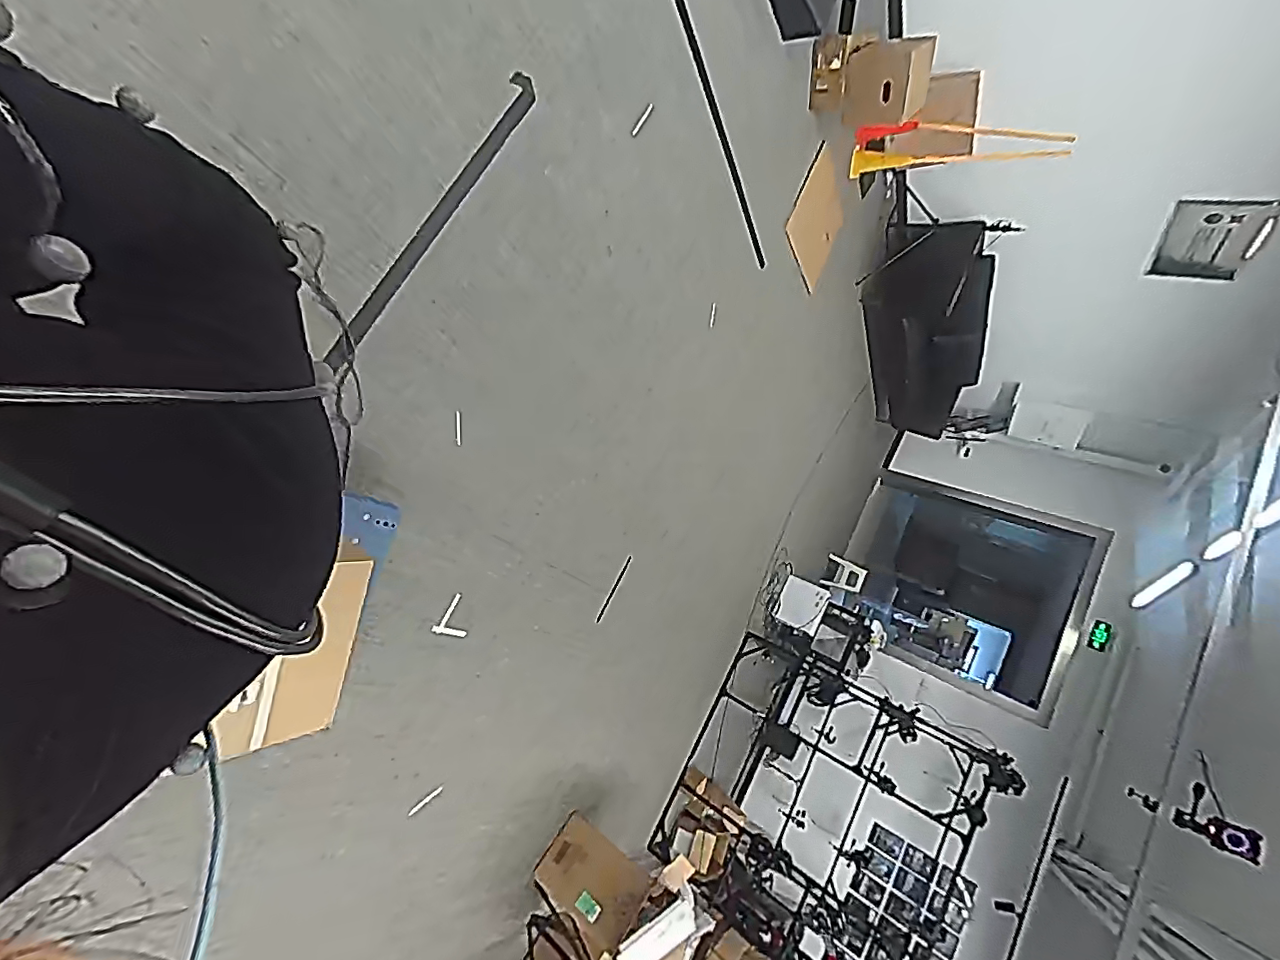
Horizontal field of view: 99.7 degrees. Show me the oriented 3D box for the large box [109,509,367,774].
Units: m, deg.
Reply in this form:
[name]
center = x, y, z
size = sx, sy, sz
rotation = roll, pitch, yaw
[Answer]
[large box]
center = -0.838, 0.296, 1.132
size = 0.320, 0.320, 0.408
rotation = 9, 101, -56
